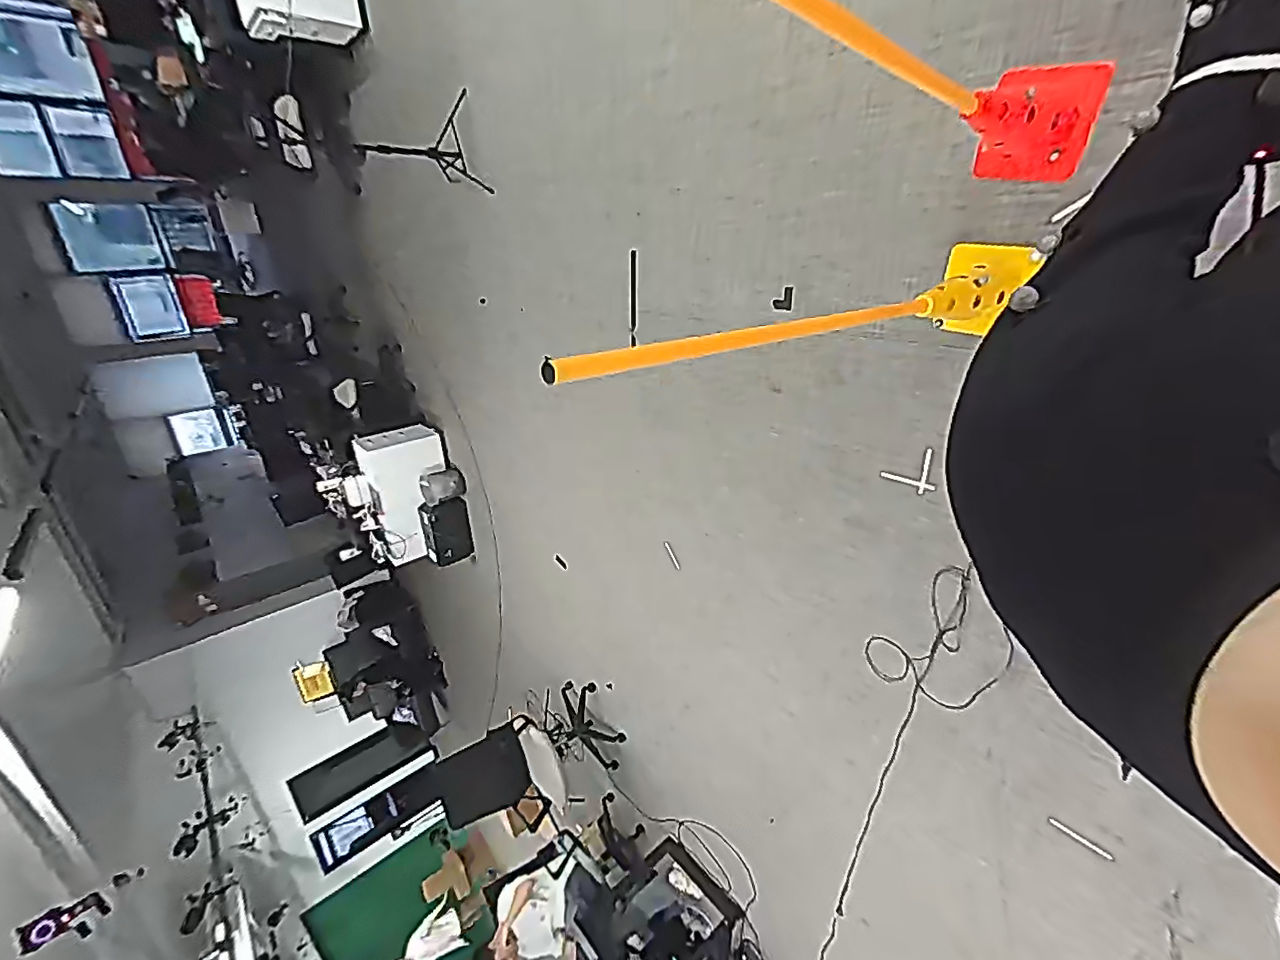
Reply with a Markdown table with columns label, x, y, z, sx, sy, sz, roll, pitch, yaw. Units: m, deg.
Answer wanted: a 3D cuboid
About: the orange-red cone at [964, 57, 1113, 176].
| label | x | y | z | sx | sy | sz | roll | pitch | yaw |
| --- | --- | --- | --- | --- | --- | --- | --- | --- | --- |
| orange-red cone | 0.691 | -0.697 | 1.010 | 0.198 | 0.360 | 0.199 | 32 | 129 | 38 |
